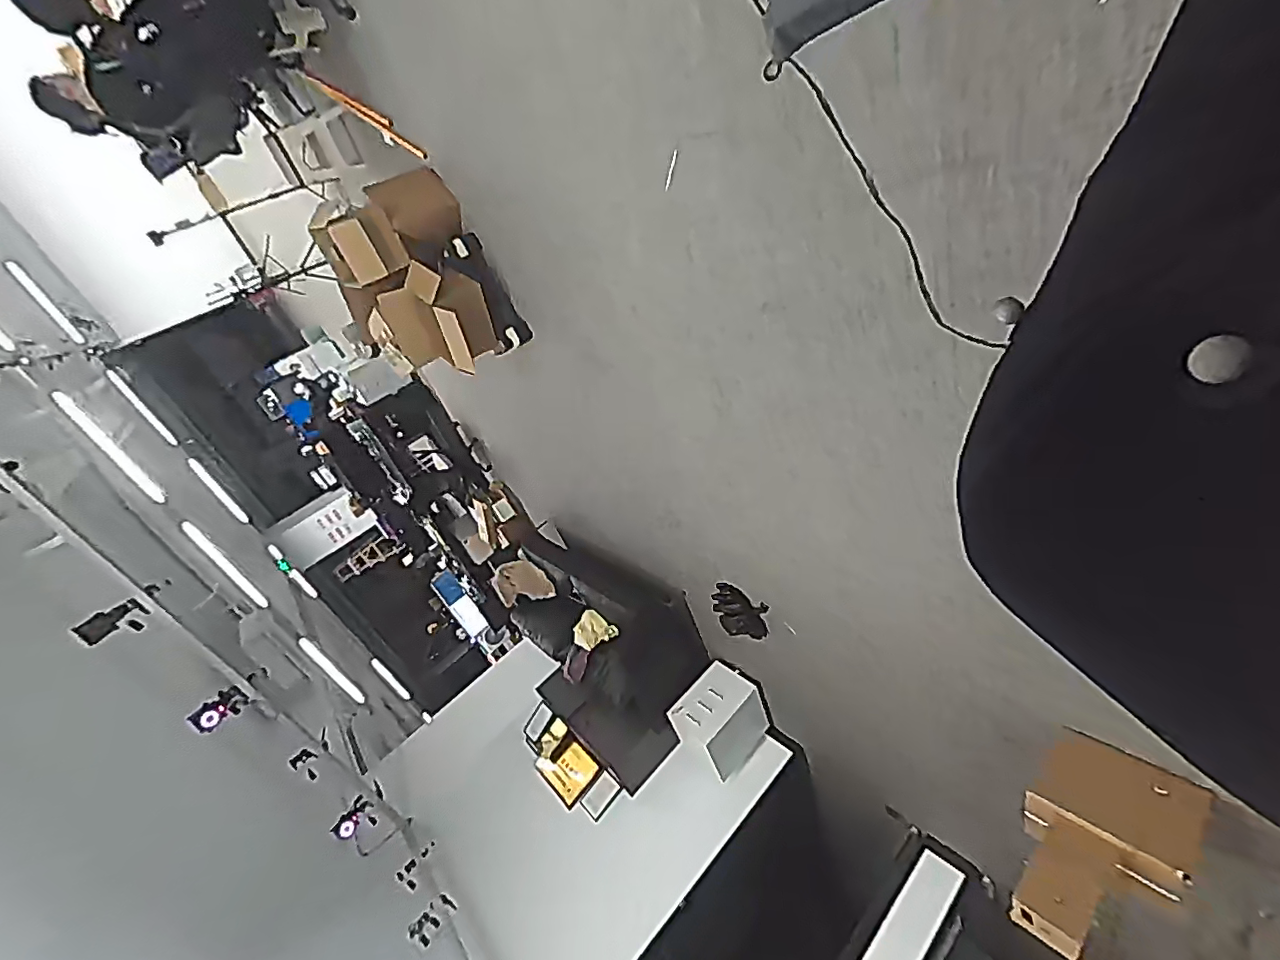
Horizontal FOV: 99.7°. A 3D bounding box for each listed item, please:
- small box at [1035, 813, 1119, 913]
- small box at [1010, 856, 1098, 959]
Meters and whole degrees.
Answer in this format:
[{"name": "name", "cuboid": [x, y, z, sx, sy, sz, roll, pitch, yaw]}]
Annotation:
[{"name": "small box", "cuboid": [1.421, 1.241, 1.763, 0.179, 0.176, 0.168, 21, 140, 50]}, {"name": "small box", "cuboid": [1.298, 1.331, 1.700, 0.179, 0.176, 0.168, 19, 138, 51]}]
